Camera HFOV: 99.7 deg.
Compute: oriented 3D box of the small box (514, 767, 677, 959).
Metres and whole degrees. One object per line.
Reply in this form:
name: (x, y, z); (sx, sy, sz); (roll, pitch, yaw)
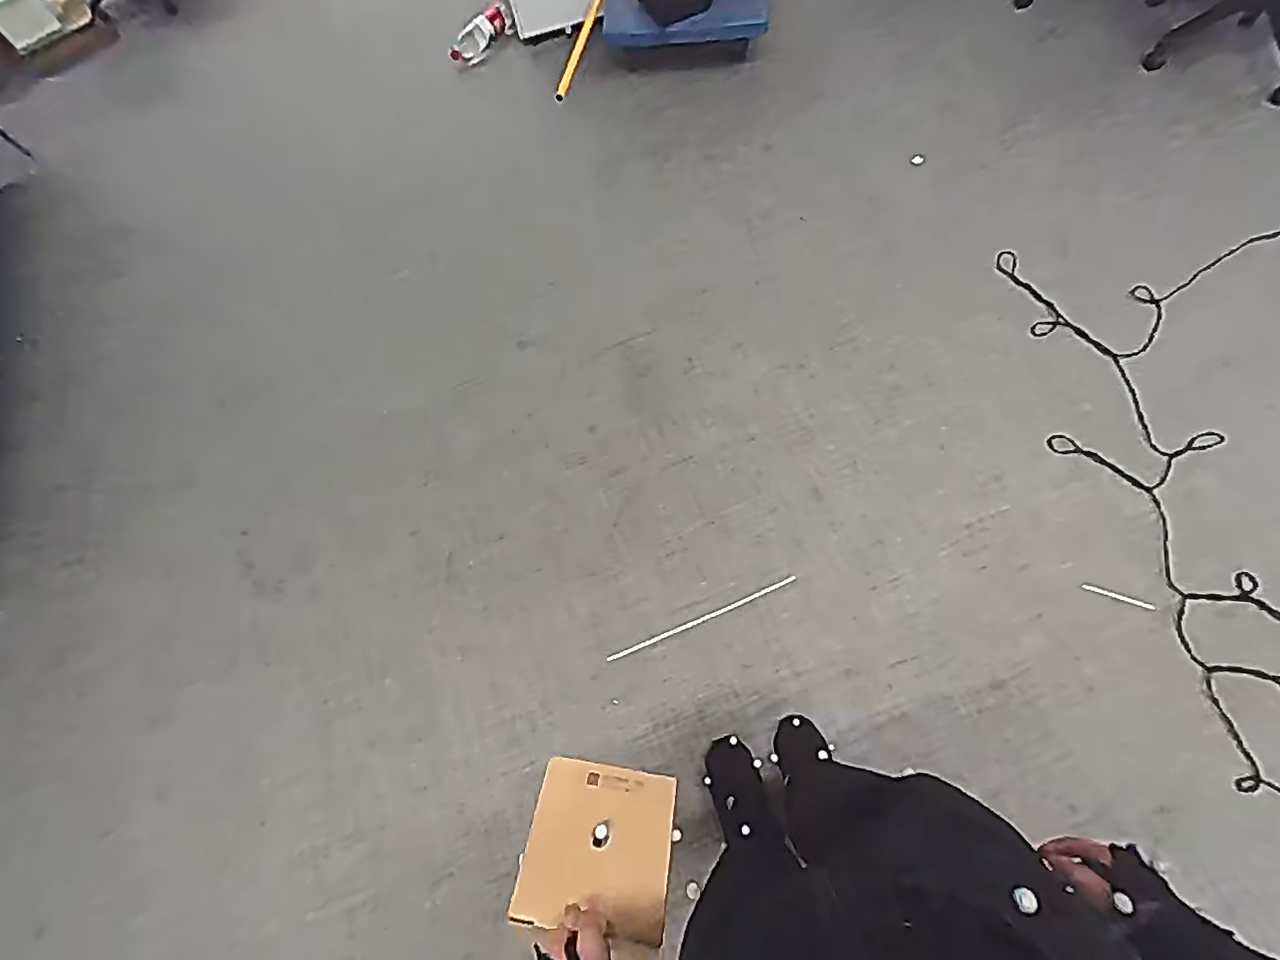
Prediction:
small box: (-0.047, 0.484, 0.673); (0.168, 0.179, 0.176); (8, 40, 4)
